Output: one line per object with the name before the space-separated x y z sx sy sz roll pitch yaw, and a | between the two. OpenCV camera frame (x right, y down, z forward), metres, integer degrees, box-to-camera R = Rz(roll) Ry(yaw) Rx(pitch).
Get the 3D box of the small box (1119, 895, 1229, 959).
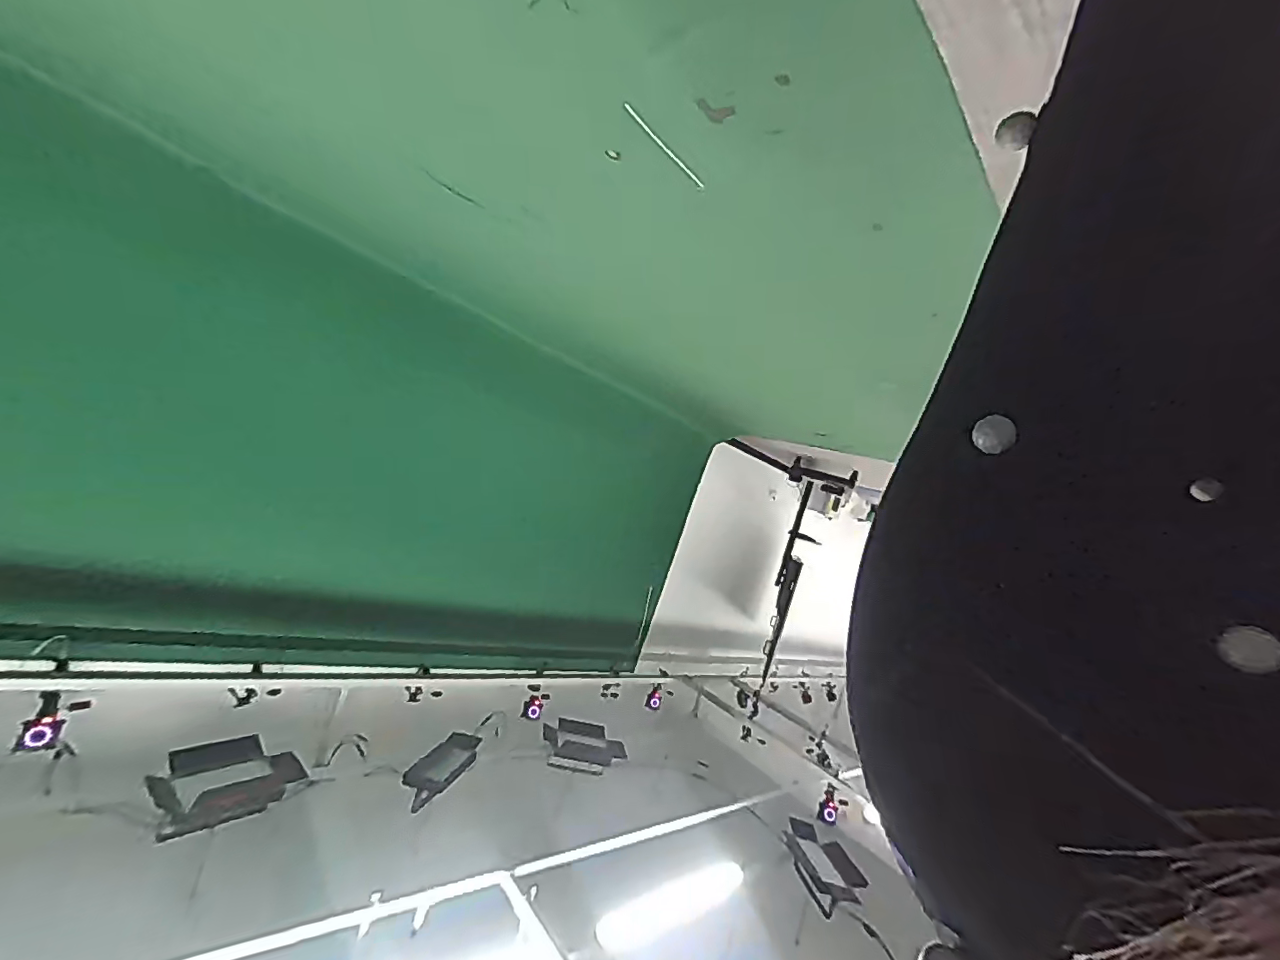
small box | 1.342 1.201 1.362 0.179 0.176 0.168 20 179 -43
